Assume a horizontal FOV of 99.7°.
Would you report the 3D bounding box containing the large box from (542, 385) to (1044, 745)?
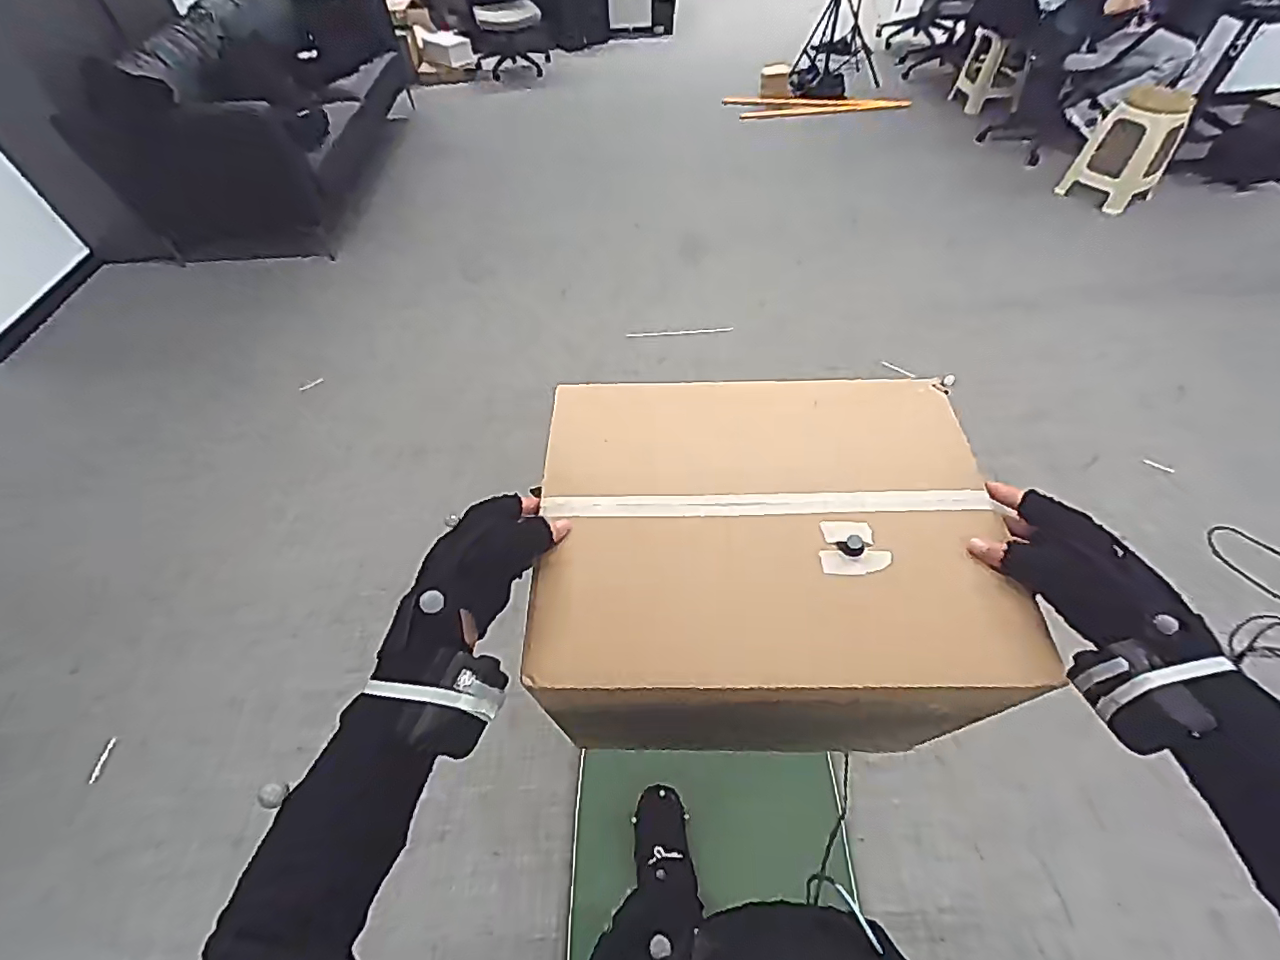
[{"bbox_3d":[0.119,0.110,0.627,0.408,0.320,0.320,-1,56,1],"label":"large box"}]
